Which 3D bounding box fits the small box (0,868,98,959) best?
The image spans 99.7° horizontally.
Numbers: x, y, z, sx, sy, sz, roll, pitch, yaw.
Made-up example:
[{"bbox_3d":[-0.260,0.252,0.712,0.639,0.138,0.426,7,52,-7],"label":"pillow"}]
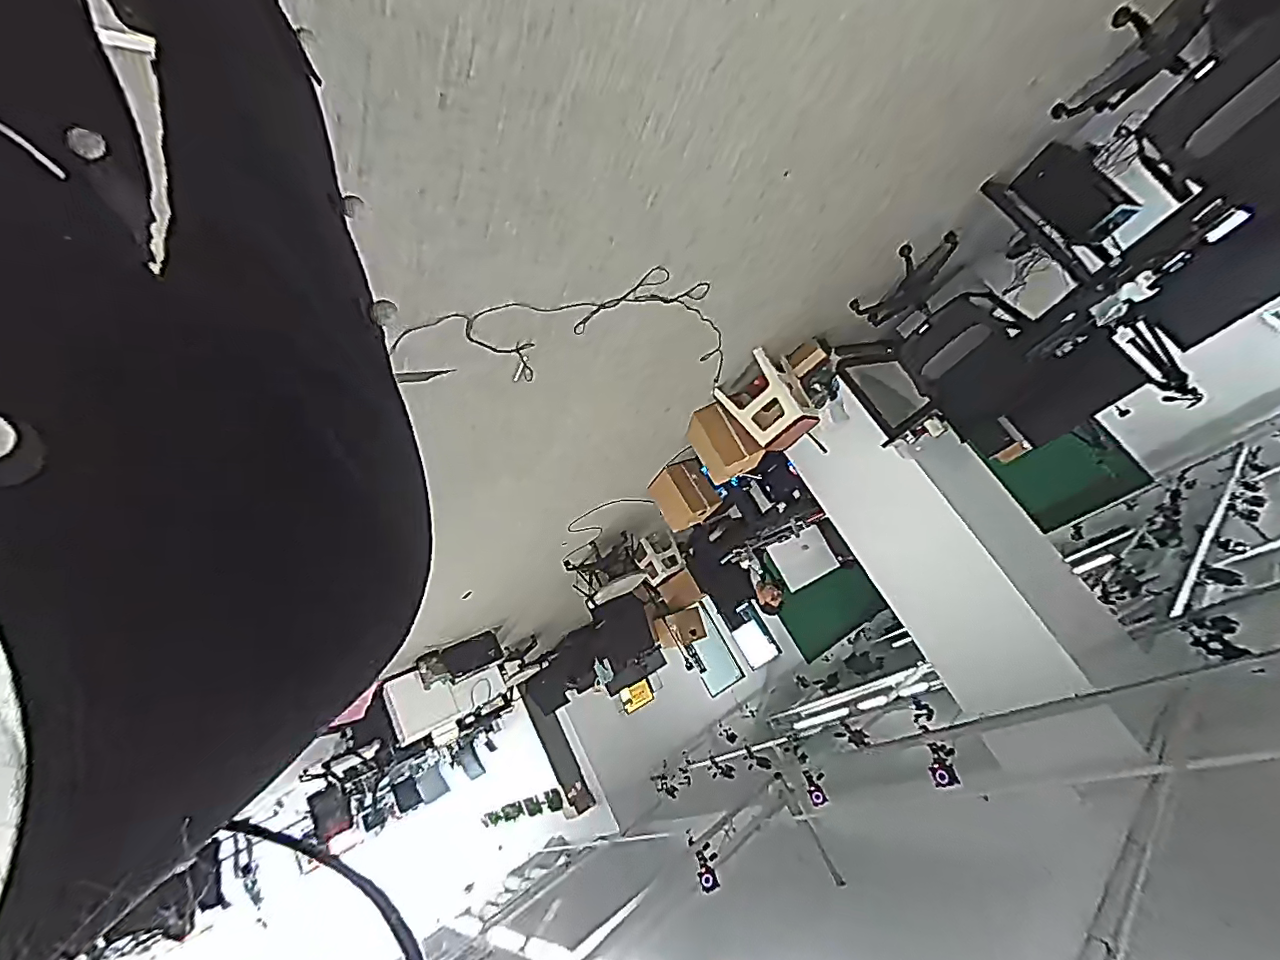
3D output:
[{"bbox_3d":[-1.644,1.216,1.500,0.168,0.176,0.179,-14,155,-42],"label":"small box"}]
